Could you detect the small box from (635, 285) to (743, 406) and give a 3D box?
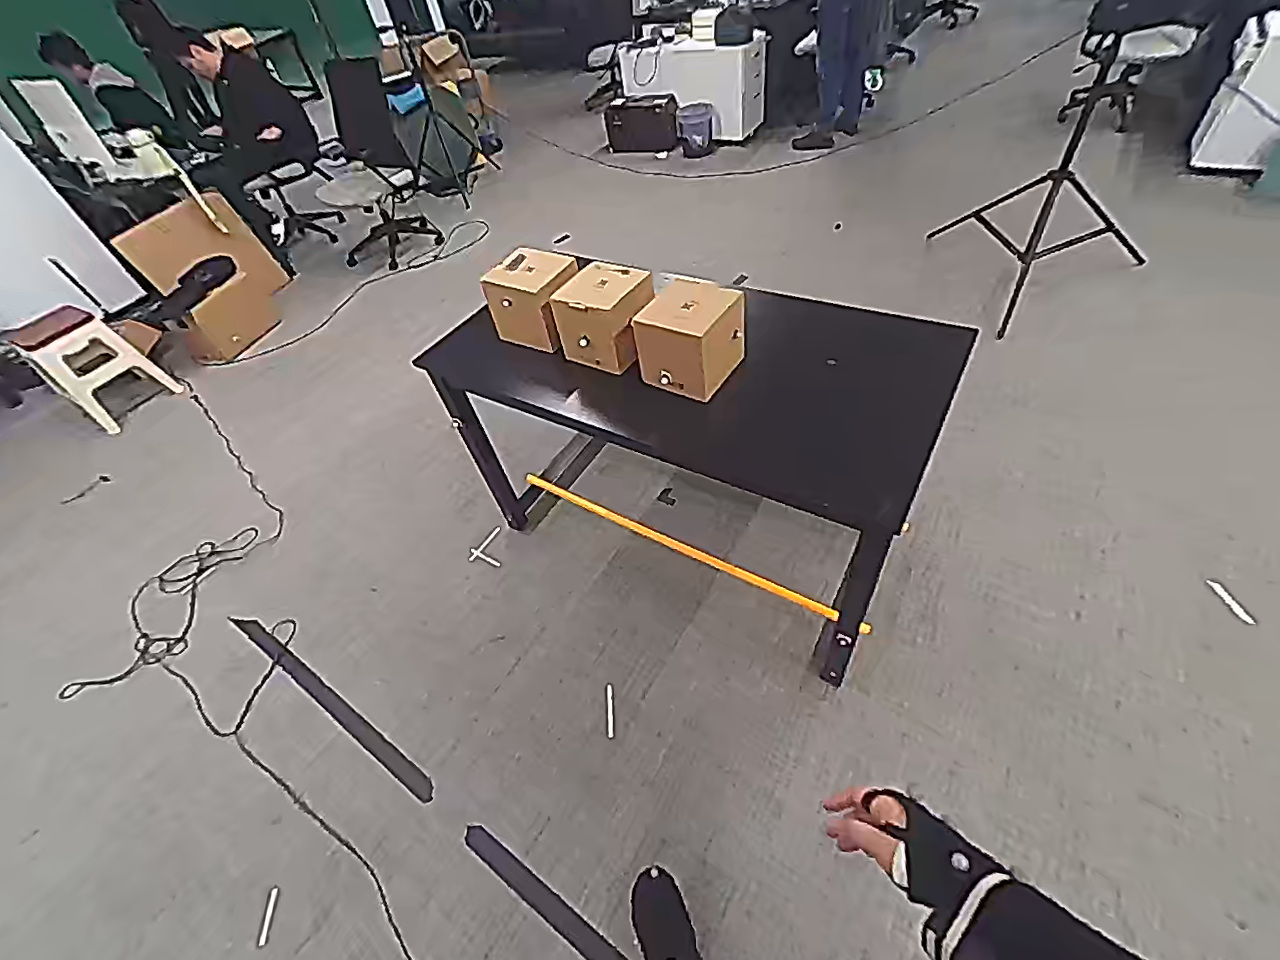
[{"bbox_3d":[0.111,-0.291,1.167,0.168,0.176,0.179,21,56,28],"label":"small box"}]

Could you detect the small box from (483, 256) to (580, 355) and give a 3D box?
[{"bbox_3d":[-0.256,-0.438,1.362,0.179,0.176,0.168,20,55,24],"label":"small box"}]

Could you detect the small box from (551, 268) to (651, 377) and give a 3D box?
[{"bbox_3d":[-0.076,-0.368,1.268,0.168,0.176,0.179,22,56,27],"label":"small box"}]
